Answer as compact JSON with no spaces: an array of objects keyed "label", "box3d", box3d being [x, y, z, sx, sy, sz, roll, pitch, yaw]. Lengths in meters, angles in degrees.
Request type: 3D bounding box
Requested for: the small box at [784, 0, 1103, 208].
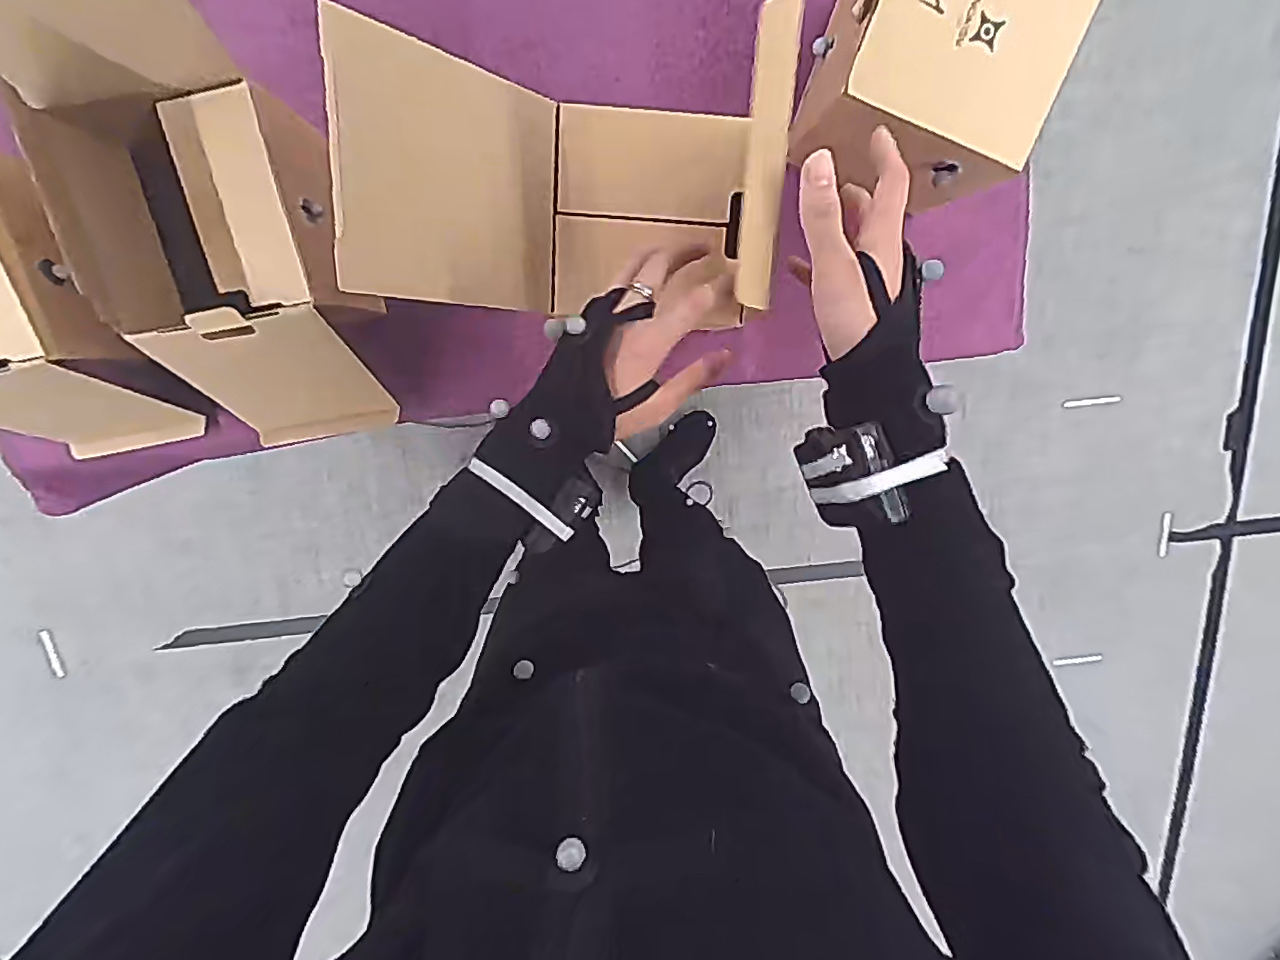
[{"label":"small box","box3d":[0.267,-0.381,0.513,0.179,0.176,0.168,19,102,-7]}]
